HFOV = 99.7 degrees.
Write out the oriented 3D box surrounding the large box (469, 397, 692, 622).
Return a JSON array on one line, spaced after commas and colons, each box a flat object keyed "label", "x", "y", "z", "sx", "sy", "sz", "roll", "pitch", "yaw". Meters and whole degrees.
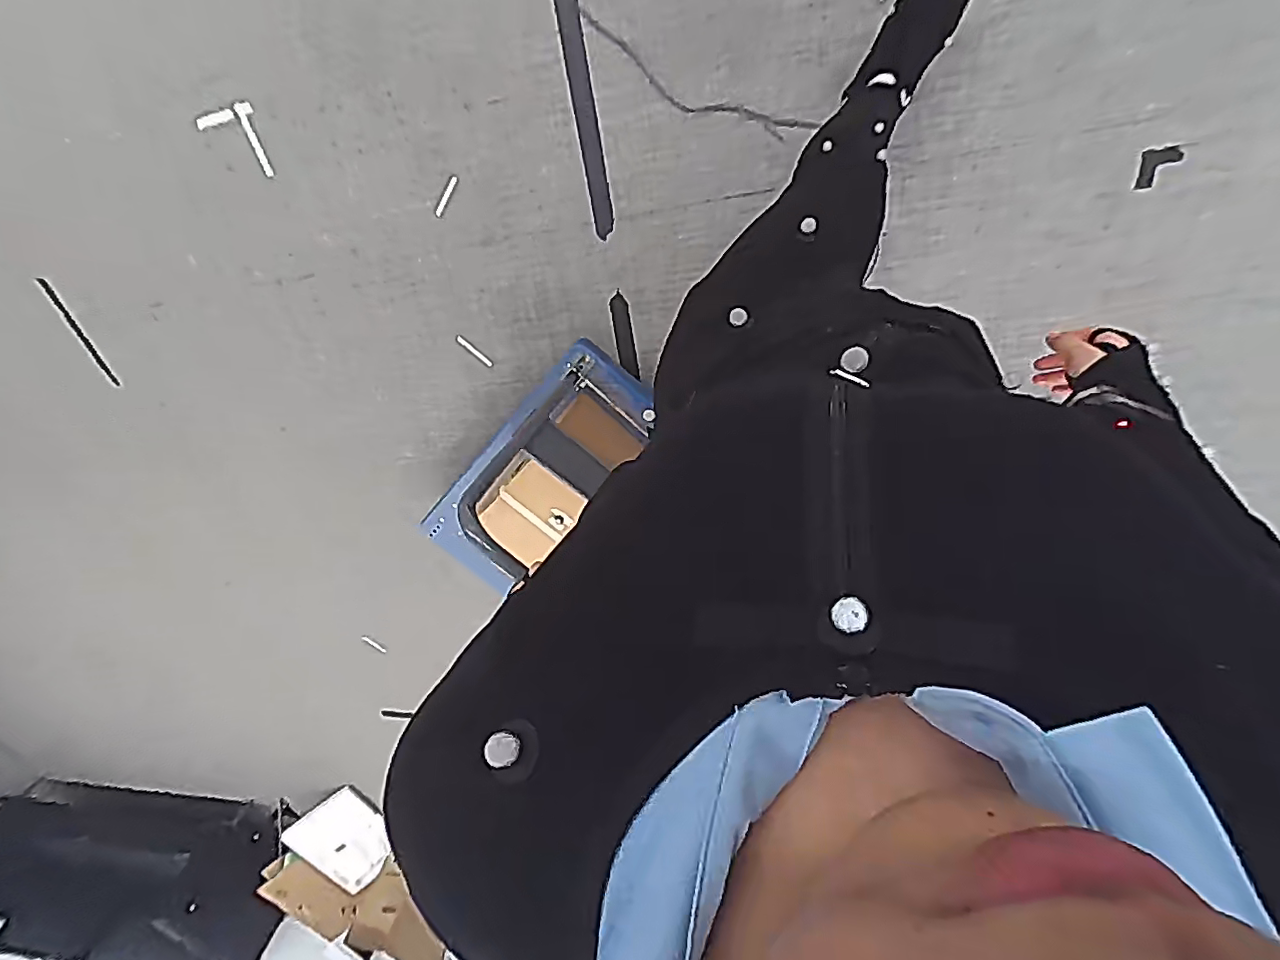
[{"label": "large box", "x": -0.129, "y": 0.072, "z": 1.359, "sx": 0.408, "sy": 0.320, "sz": 0.320, "roll": 41, "pitch": 121, "yaw": -13}]
